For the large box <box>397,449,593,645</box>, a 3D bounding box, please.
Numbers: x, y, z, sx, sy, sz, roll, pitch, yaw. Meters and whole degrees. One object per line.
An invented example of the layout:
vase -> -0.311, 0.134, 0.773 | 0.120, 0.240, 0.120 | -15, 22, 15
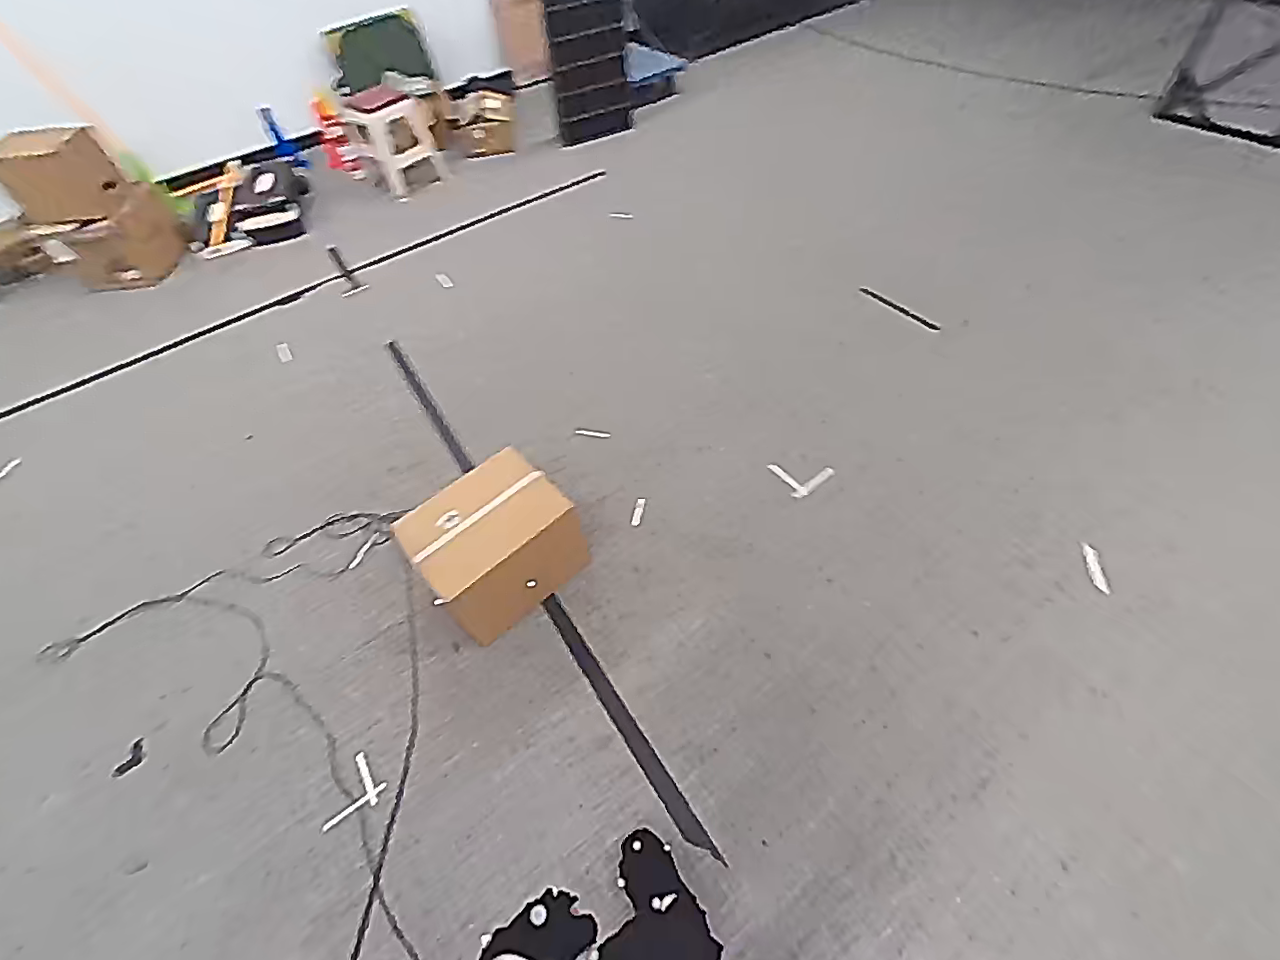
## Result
large box -> -0.399, 0.194, 1.572 | 0.408, 0.320, 0.320 | -38, 58, -20
